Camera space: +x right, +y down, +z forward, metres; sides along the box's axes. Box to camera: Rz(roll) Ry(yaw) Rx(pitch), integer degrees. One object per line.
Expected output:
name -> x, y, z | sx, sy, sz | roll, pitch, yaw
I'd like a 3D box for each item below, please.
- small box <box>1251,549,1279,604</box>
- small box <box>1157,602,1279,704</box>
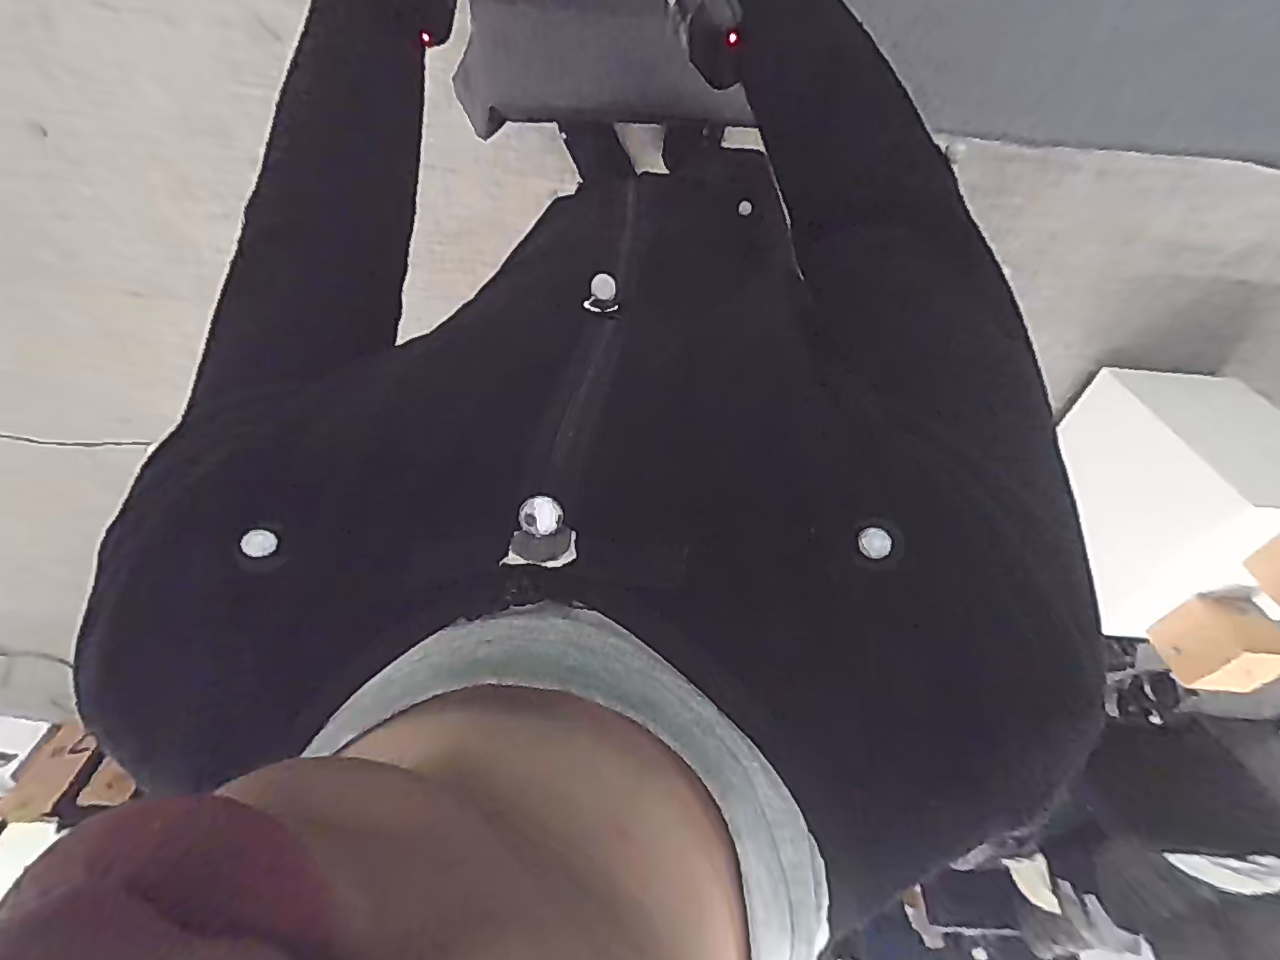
small box -> 1.479, 0.213, 1.133 | 0.168, 0.176, 0.179 | 4, 135, 0
small box -> 1.451, 0.428, 1.338 | 0.168, 0.176, 0.179 | 6, 132, -3
